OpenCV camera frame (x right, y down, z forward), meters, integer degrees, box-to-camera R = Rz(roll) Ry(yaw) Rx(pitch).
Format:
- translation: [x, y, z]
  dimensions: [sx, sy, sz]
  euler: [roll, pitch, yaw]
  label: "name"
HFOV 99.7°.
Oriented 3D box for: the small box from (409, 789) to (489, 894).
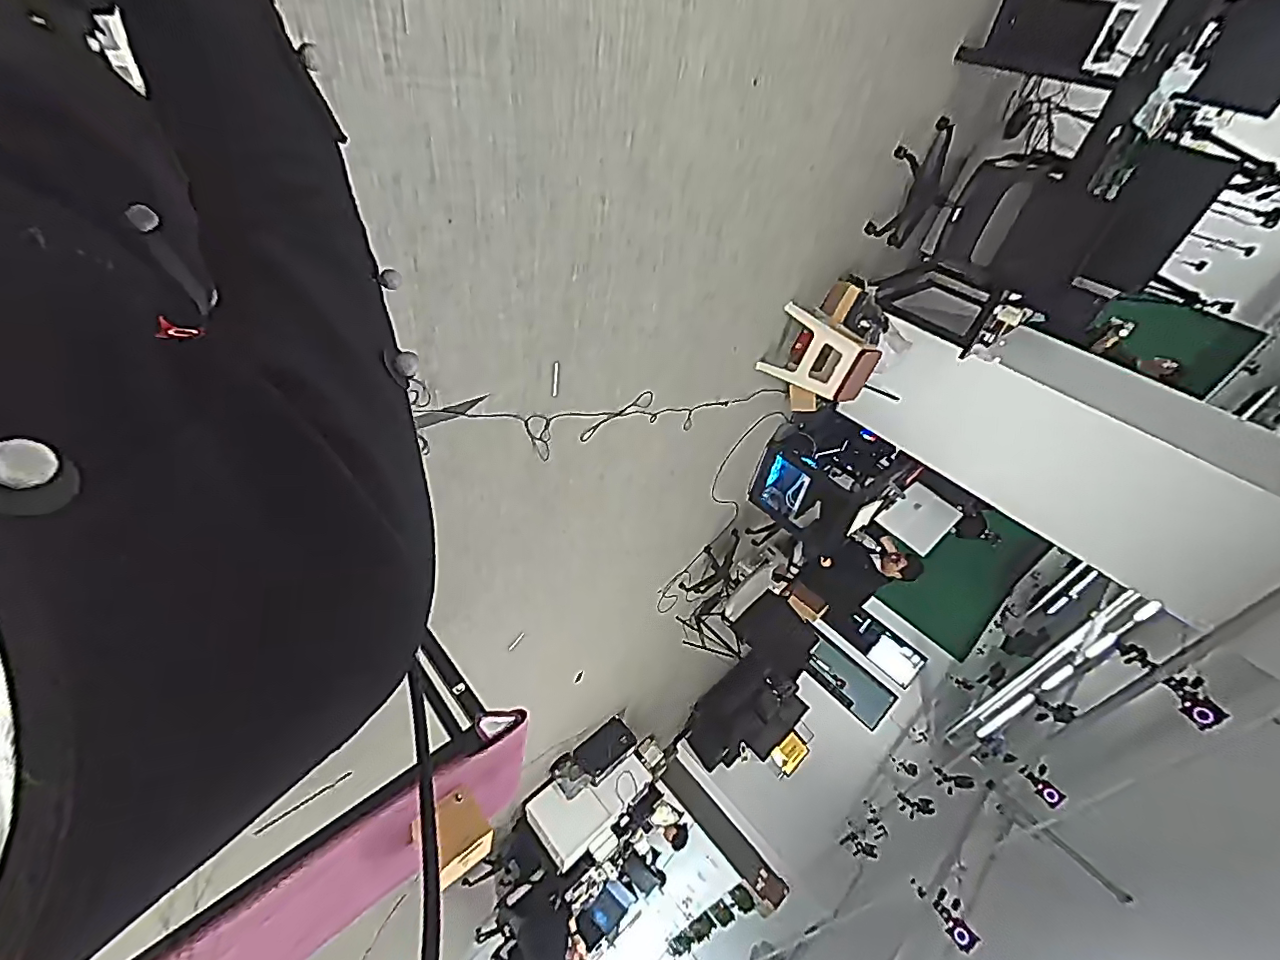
- translation: [-0.566, 1.053, 1.591]
  dimensions: [0.168, 0.176, 0.179]
  euler: [-21, 140, -40]
  label: "small box"
